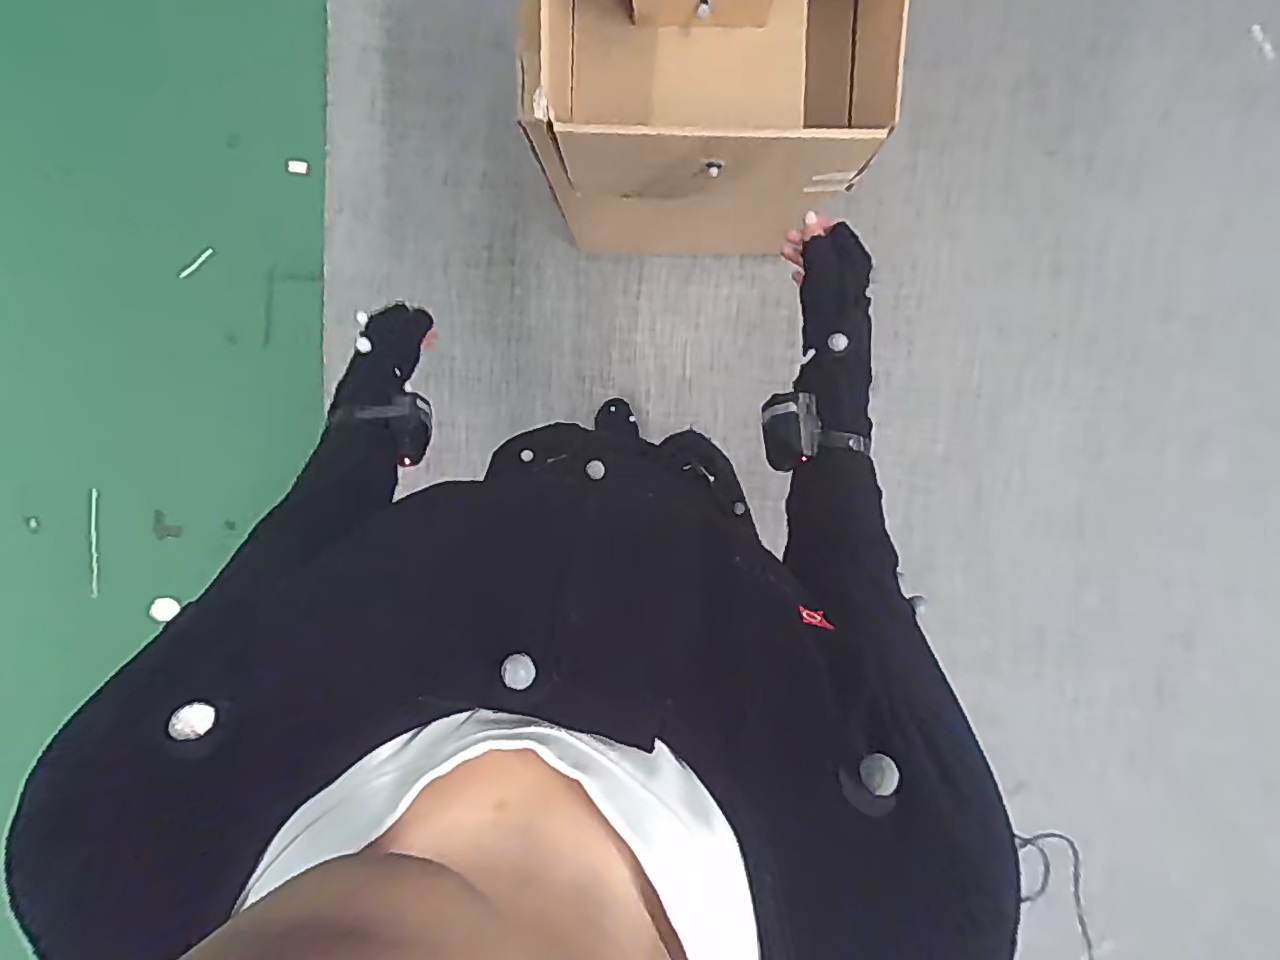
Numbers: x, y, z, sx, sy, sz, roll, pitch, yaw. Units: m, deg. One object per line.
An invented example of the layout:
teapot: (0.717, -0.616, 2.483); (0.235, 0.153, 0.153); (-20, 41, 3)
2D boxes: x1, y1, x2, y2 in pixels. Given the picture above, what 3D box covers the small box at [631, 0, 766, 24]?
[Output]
small box: (0.079, -0.668, 0.617); (0.179, 0.176, 0.168); (2, 94, 0)
